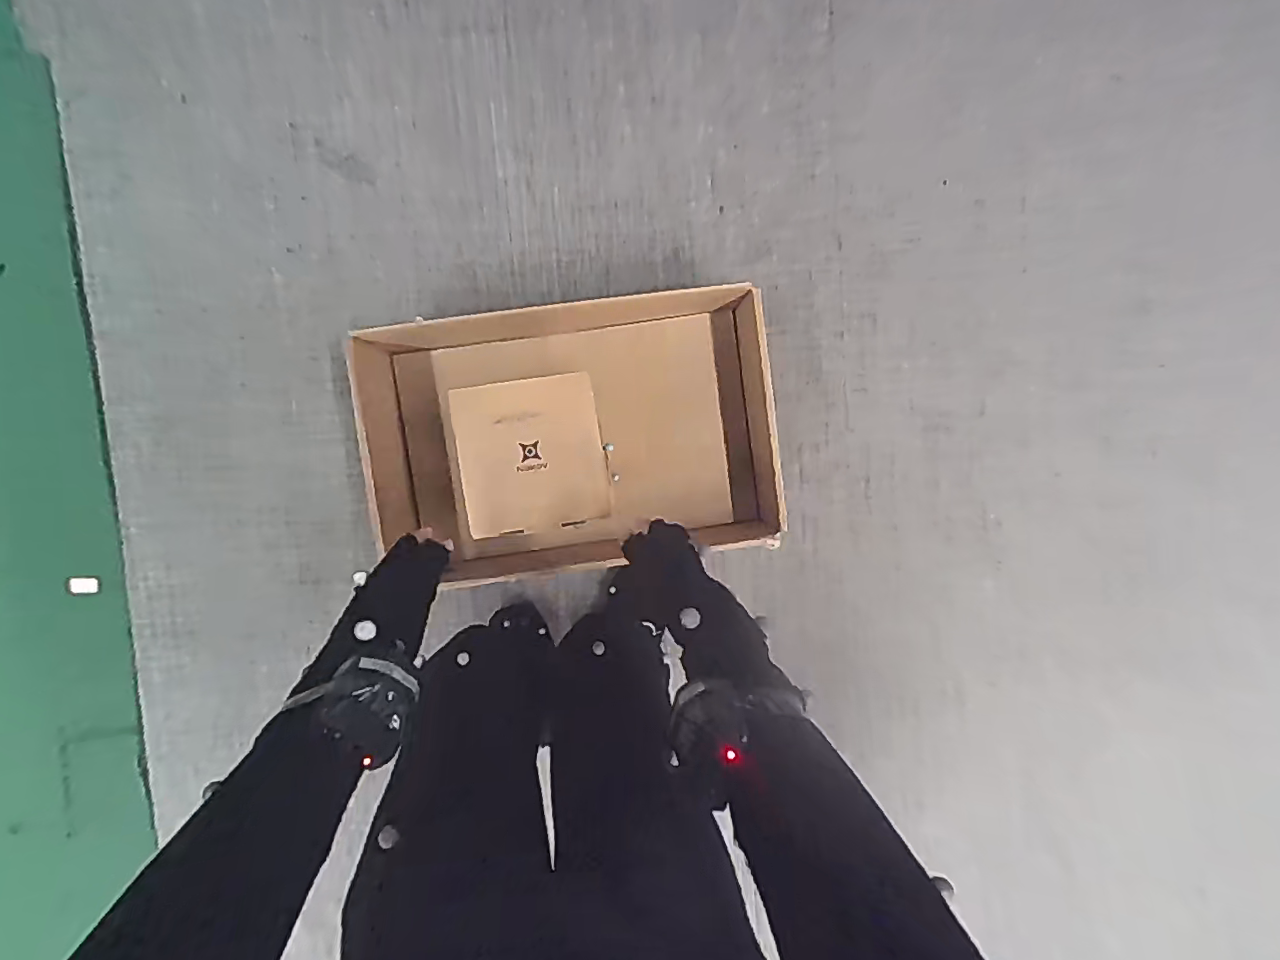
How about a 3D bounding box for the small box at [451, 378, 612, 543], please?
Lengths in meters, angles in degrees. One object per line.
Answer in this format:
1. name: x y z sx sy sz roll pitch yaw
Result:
1. small box: -0.128 -0.025 0.702 0.168 0.176 0.179 -8 92 -3
